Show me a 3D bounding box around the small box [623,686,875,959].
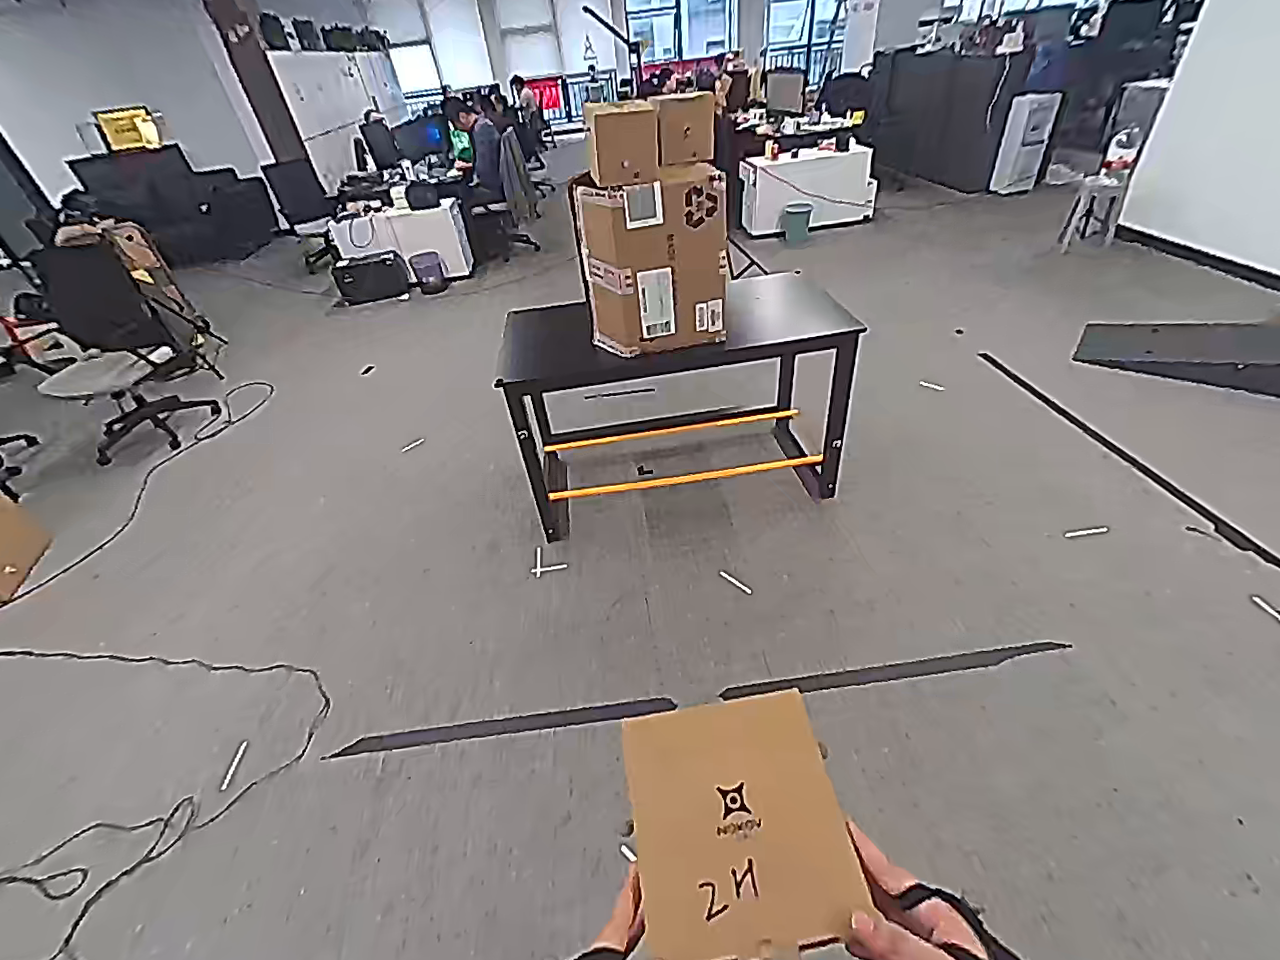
[{"bbox_3d":[0.080,0.317,0.492,0.168,0.176,0.179,-10,47,-2],"label":"small box"}]

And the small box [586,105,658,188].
[{"bbox_3d":[-0.049,-0.909,1.473,0.168,0.176,0.179,-10,41,-7],"label":"small box"}]

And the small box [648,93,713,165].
[{"bbox_3d":[0.124,-1.079,1.665,0.168,0.176,0.179,-9,38,-7],"label":"small box"}]

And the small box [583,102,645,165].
[{"bbox_3d":[-0.073,-1.047,1.654,0.168,0.176,0.179,-12,37,-6],"label":"small box"}]
